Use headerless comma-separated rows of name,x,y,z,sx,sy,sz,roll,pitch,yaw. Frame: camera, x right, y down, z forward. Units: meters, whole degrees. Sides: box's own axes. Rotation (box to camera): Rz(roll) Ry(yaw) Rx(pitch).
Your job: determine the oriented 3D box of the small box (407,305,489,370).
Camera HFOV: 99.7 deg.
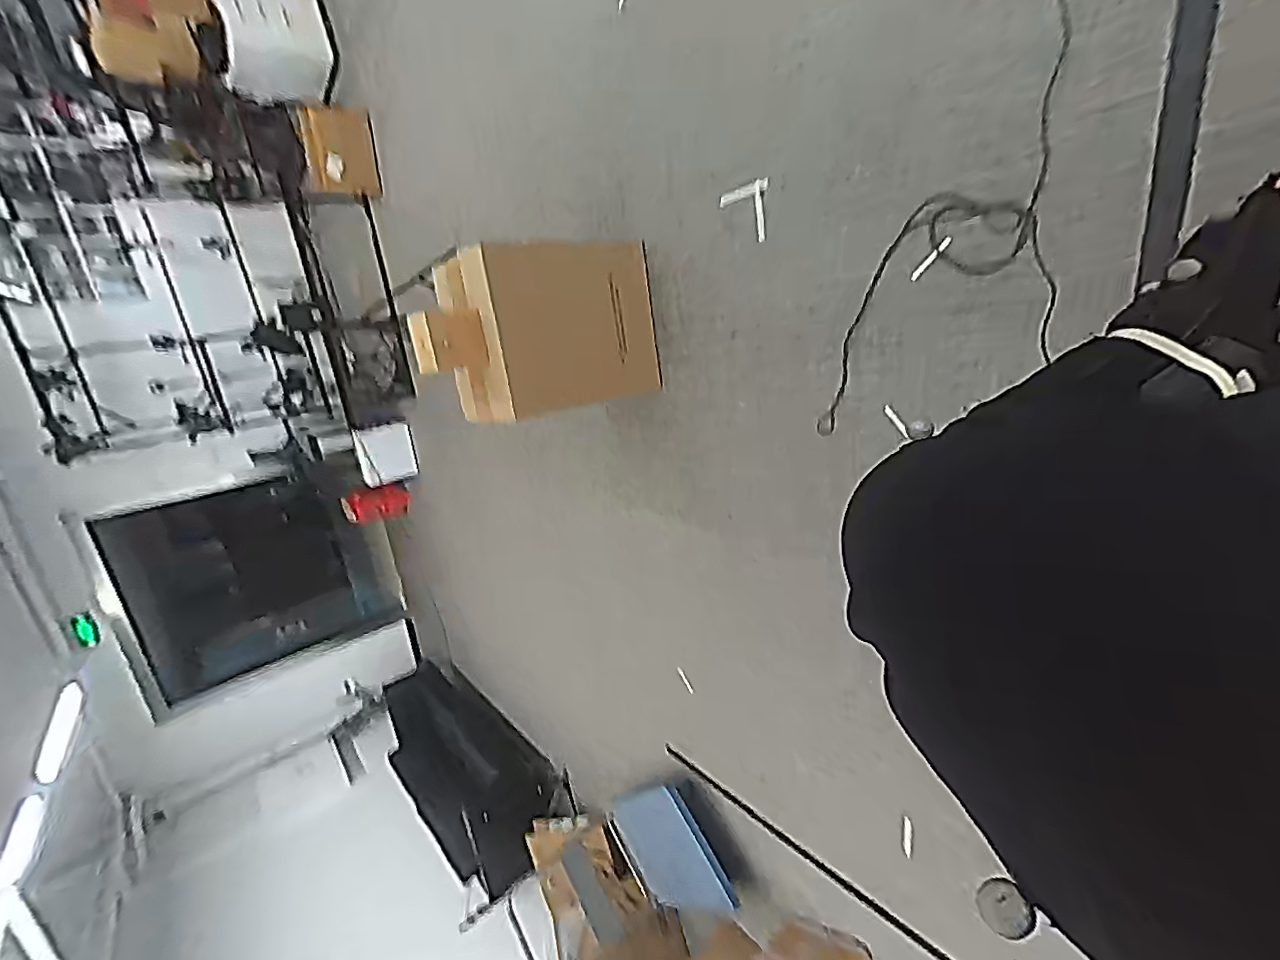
small box,-0.594,-0.444,1.678,0.168,0.176,0.179,10,115,49
